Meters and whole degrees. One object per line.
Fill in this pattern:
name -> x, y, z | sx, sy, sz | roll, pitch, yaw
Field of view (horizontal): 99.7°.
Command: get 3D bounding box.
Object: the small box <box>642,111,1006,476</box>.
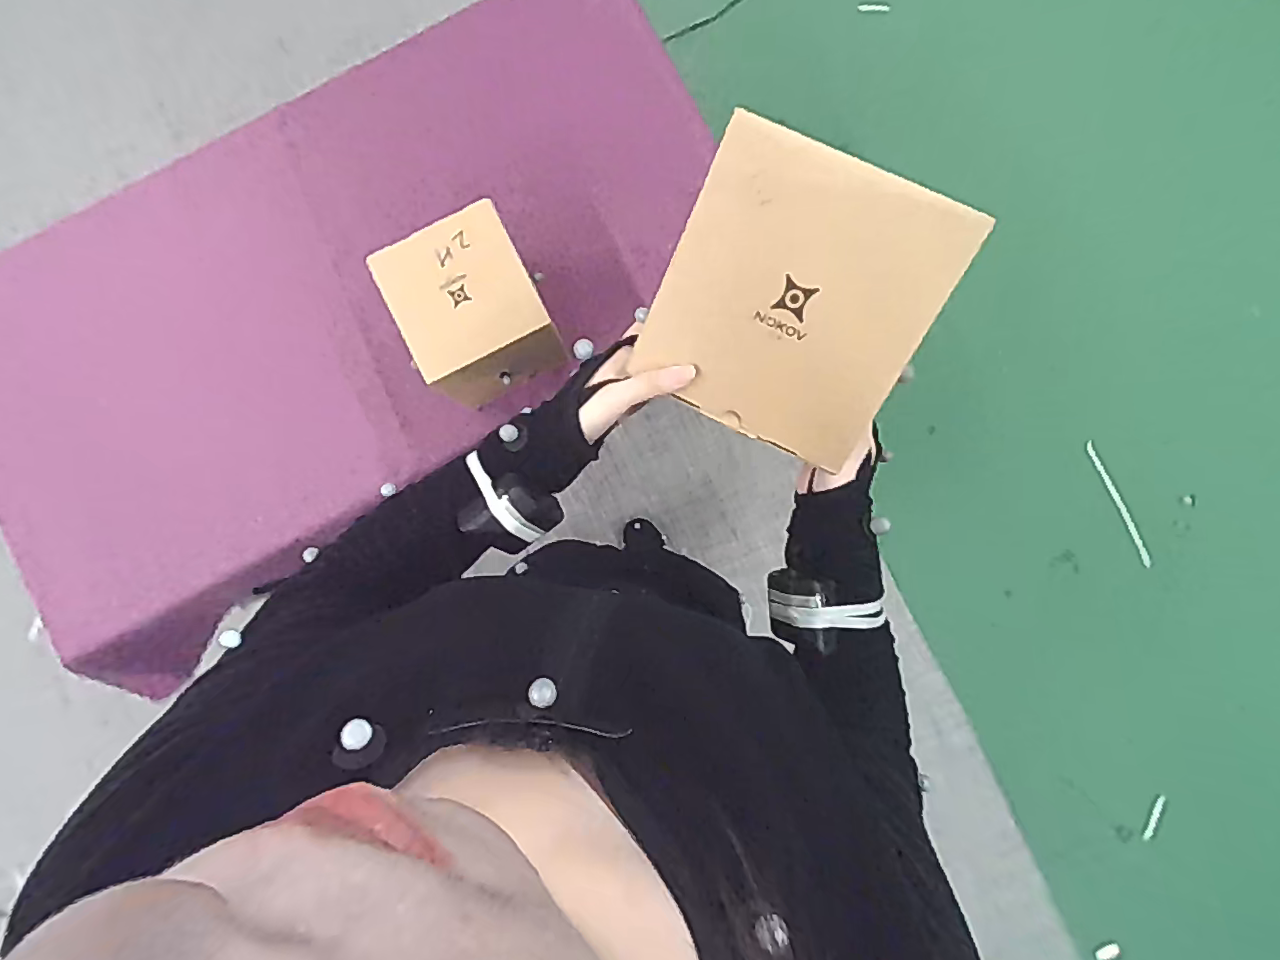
small box -> 0.123, -0.135, 0.418 | 0.168, 0.176, 0.179 | 27, 113, 4

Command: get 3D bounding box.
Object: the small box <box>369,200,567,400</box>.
small box -> -0.212, -0.219, 0.719 | 0.168, 0.176, 0.179 | -27, 87, -1
